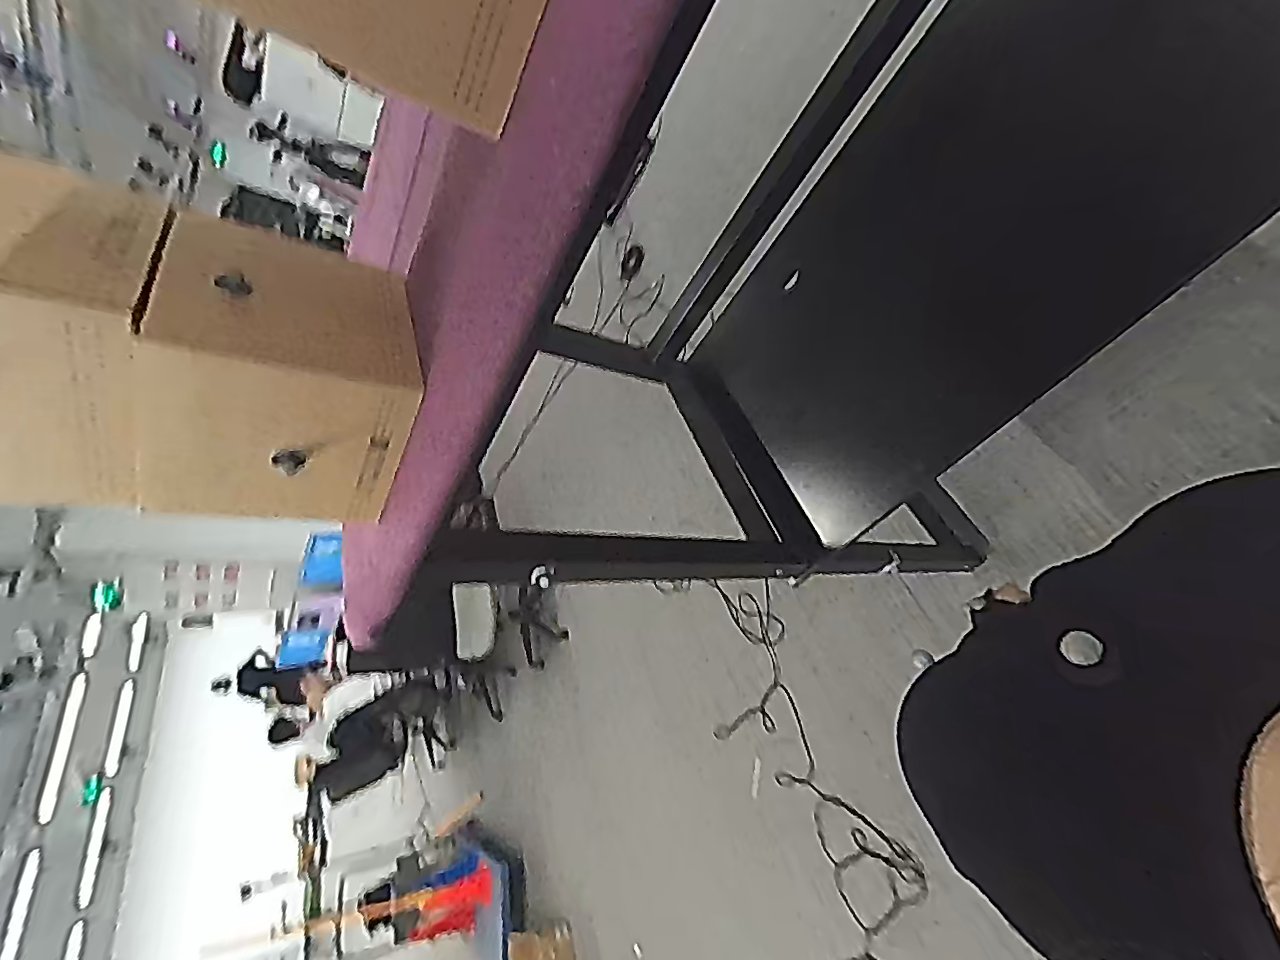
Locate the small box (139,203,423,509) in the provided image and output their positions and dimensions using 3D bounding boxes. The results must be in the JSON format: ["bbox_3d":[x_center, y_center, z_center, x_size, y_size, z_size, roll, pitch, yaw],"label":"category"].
[{"bbox_3d":[-0.293,-0.090,0.455,0.168,0.176,0.179,-53,46,33],"label":"small box"}]

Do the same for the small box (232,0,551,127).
[{"bbox_3d":[-0.129,-0.334,0.279,0.179,0.176,0.168,-54,44,35],"label":"small box"}]
